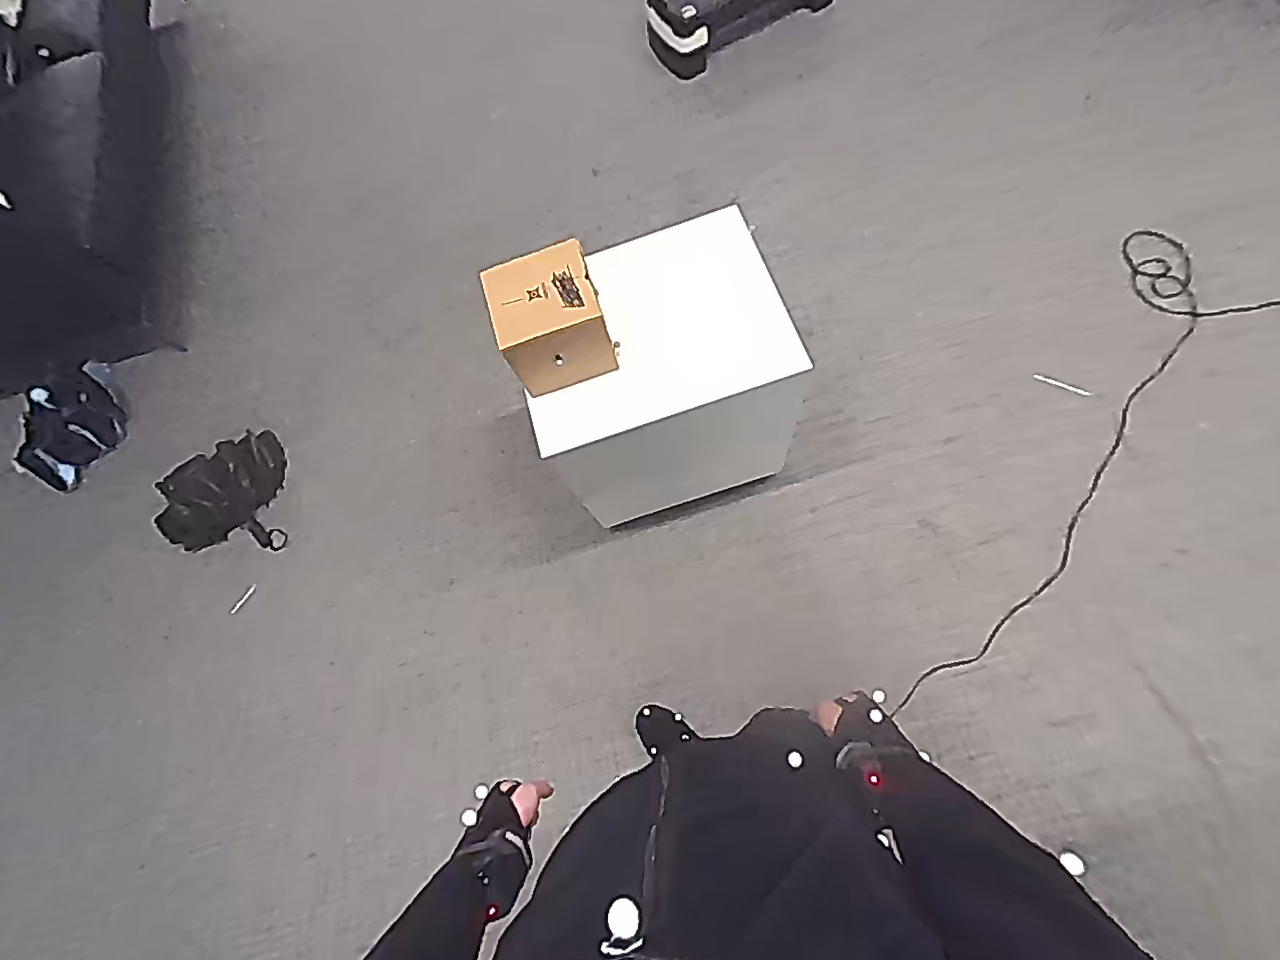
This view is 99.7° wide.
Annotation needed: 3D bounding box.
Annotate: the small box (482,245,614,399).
[{"bbox_3d":[-0.152,-0.269,0.955,0.179,0.176,0.168,-19,69,2],"label":"small box"}]
